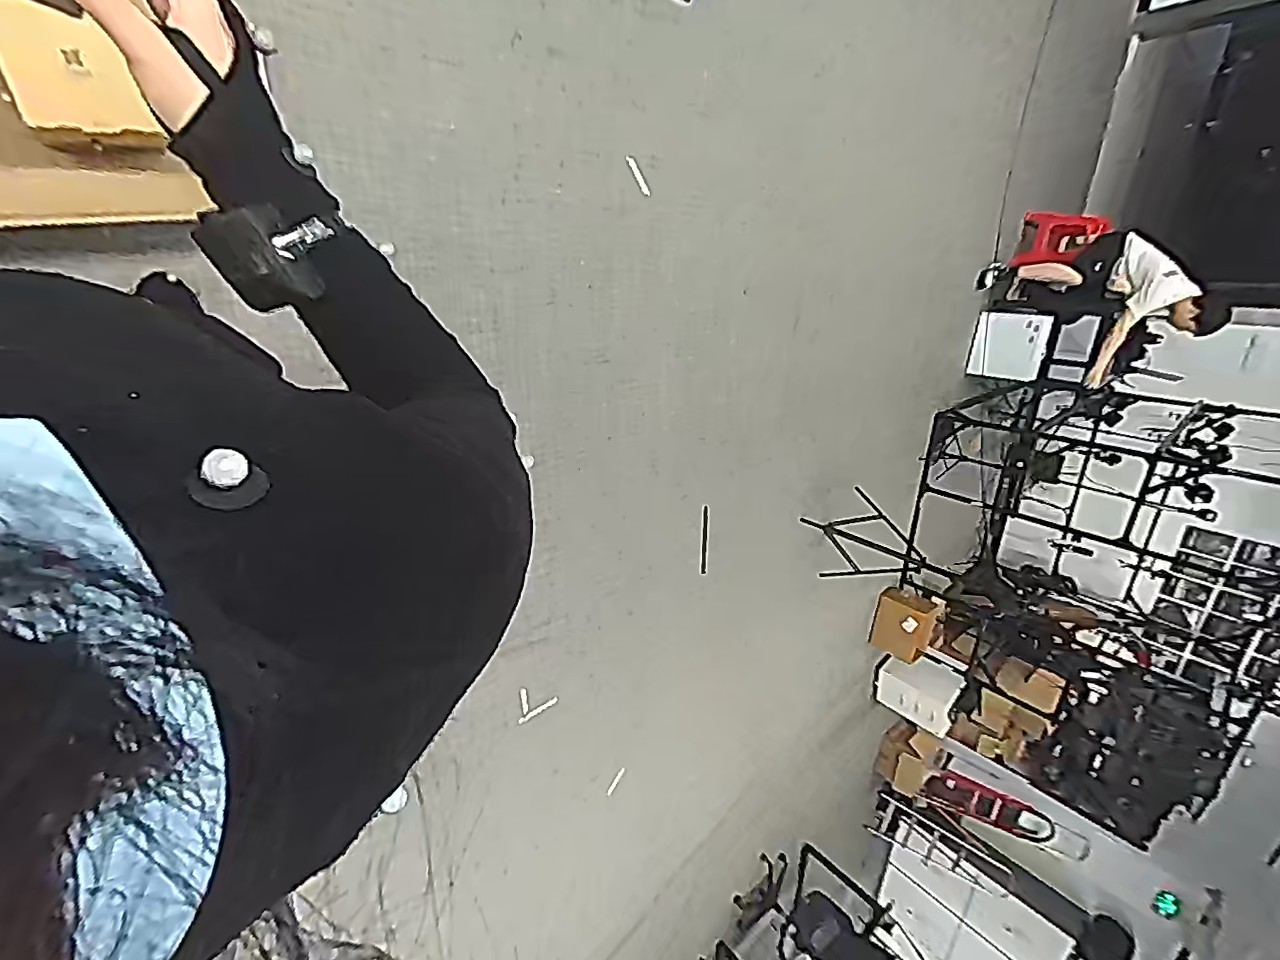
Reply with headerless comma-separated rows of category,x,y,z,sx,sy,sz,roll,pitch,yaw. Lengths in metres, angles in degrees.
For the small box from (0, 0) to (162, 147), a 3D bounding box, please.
small box,-0.901,-0.648,0.859,0.168,0.176,0.179,-22,121,-35
